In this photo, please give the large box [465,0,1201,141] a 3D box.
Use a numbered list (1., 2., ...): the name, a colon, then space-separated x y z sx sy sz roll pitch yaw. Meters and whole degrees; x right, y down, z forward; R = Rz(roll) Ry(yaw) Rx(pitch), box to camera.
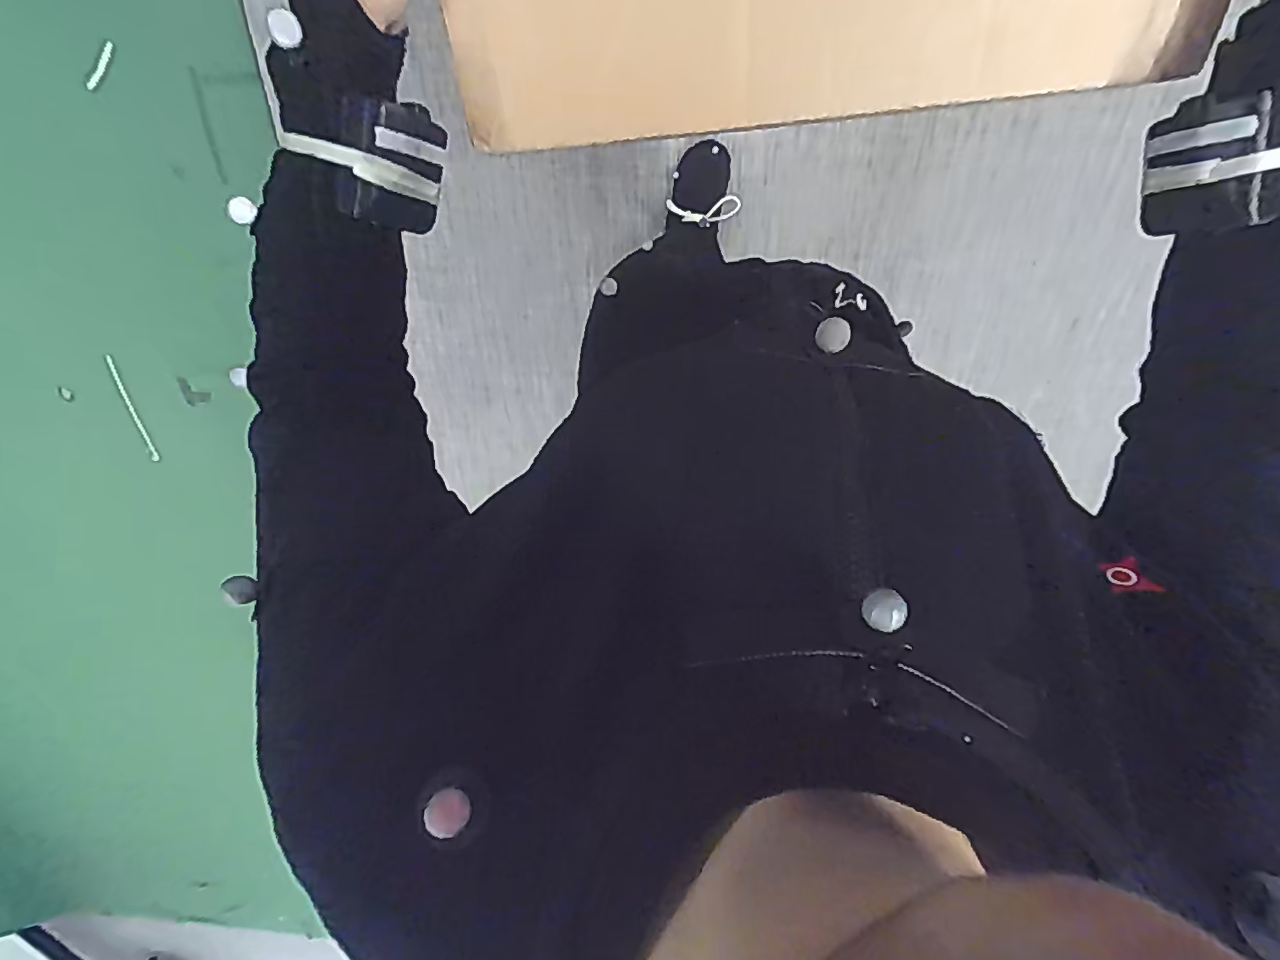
1. large box: 0.093 -0.434 0.360 0.408 0.320 0.320 -4 124 5
